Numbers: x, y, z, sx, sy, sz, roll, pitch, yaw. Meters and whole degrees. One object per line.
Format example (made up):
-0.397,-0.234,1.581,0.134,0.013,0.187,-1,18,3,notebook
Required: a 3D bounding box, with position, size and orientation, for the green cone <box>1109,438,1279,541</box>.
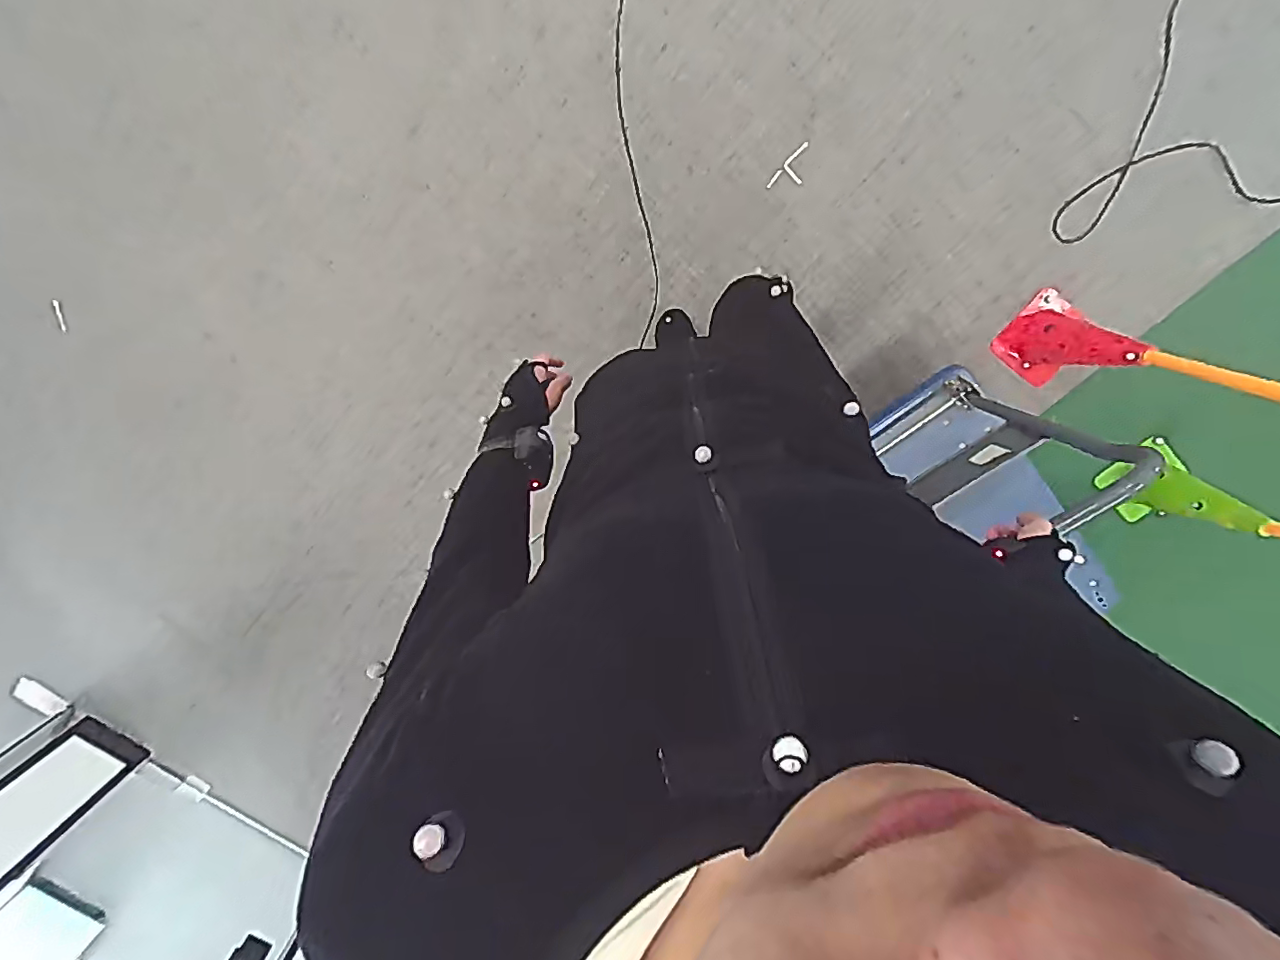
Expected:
1.457,0.063,1.373,0.202,0.368,0.200,41,107,-12,green cone
